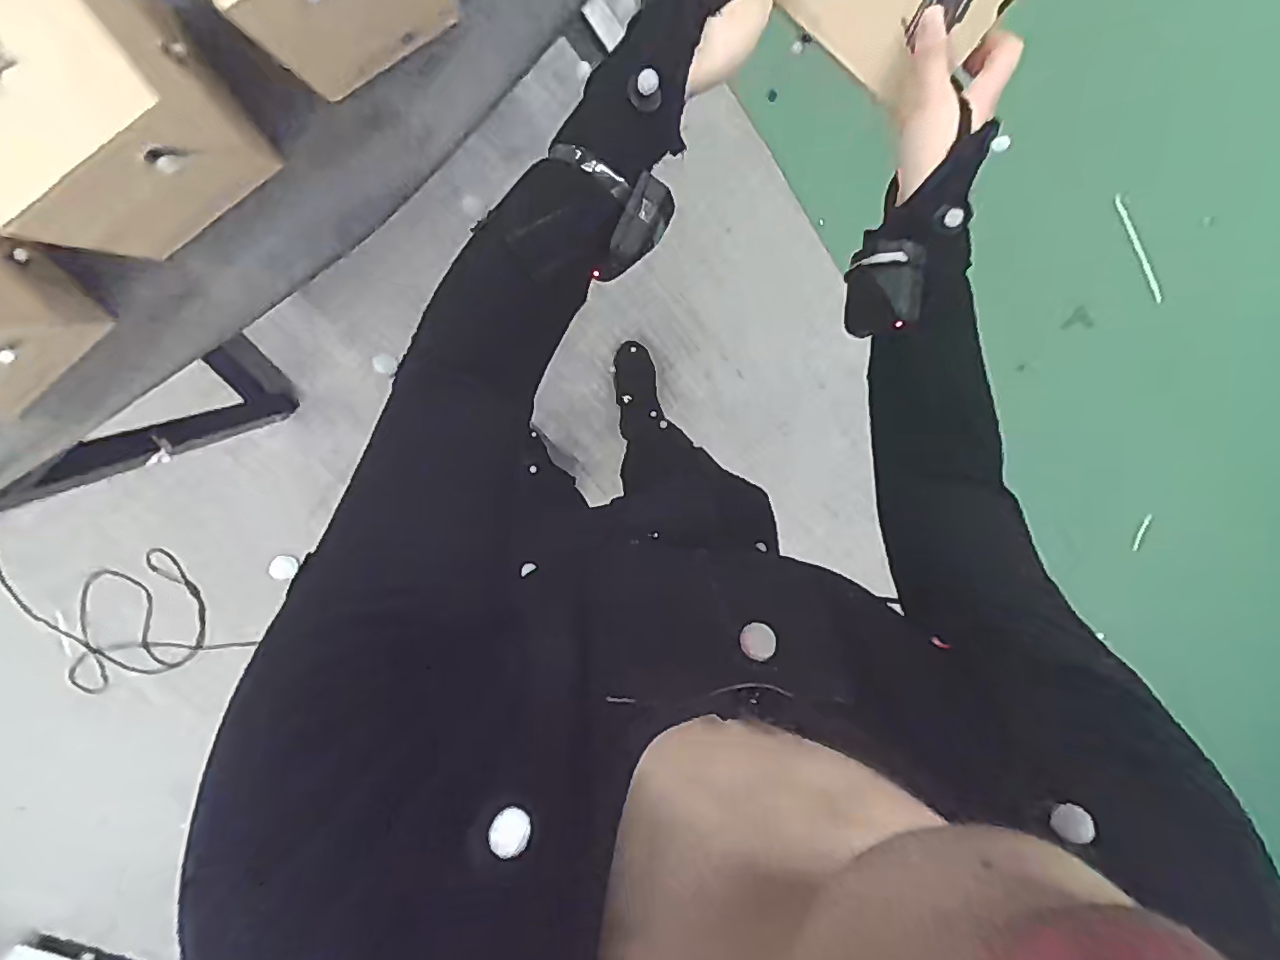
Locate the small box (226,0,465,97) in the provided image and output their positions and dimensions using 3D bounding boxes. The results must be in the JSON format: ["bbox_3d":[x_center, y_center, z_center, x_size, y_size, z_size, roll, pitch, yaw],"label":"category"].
[{"bbox_3d":[-0.278,-0.479,0.454,0.168,0.176,0.179,-29,104,5],"label":"small box"}]

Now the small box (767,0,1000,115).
[{"bbox_3d":[0.180,-0.421,0.400,0.179,0.176,0.168,25,132,-19],"label":"small box"}]

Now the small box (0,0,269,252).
[{"bbox_3d":[-0.480,-0.331,0.482,0.179,0.176,0.168,-32,104,6],"label":"small box"}]
